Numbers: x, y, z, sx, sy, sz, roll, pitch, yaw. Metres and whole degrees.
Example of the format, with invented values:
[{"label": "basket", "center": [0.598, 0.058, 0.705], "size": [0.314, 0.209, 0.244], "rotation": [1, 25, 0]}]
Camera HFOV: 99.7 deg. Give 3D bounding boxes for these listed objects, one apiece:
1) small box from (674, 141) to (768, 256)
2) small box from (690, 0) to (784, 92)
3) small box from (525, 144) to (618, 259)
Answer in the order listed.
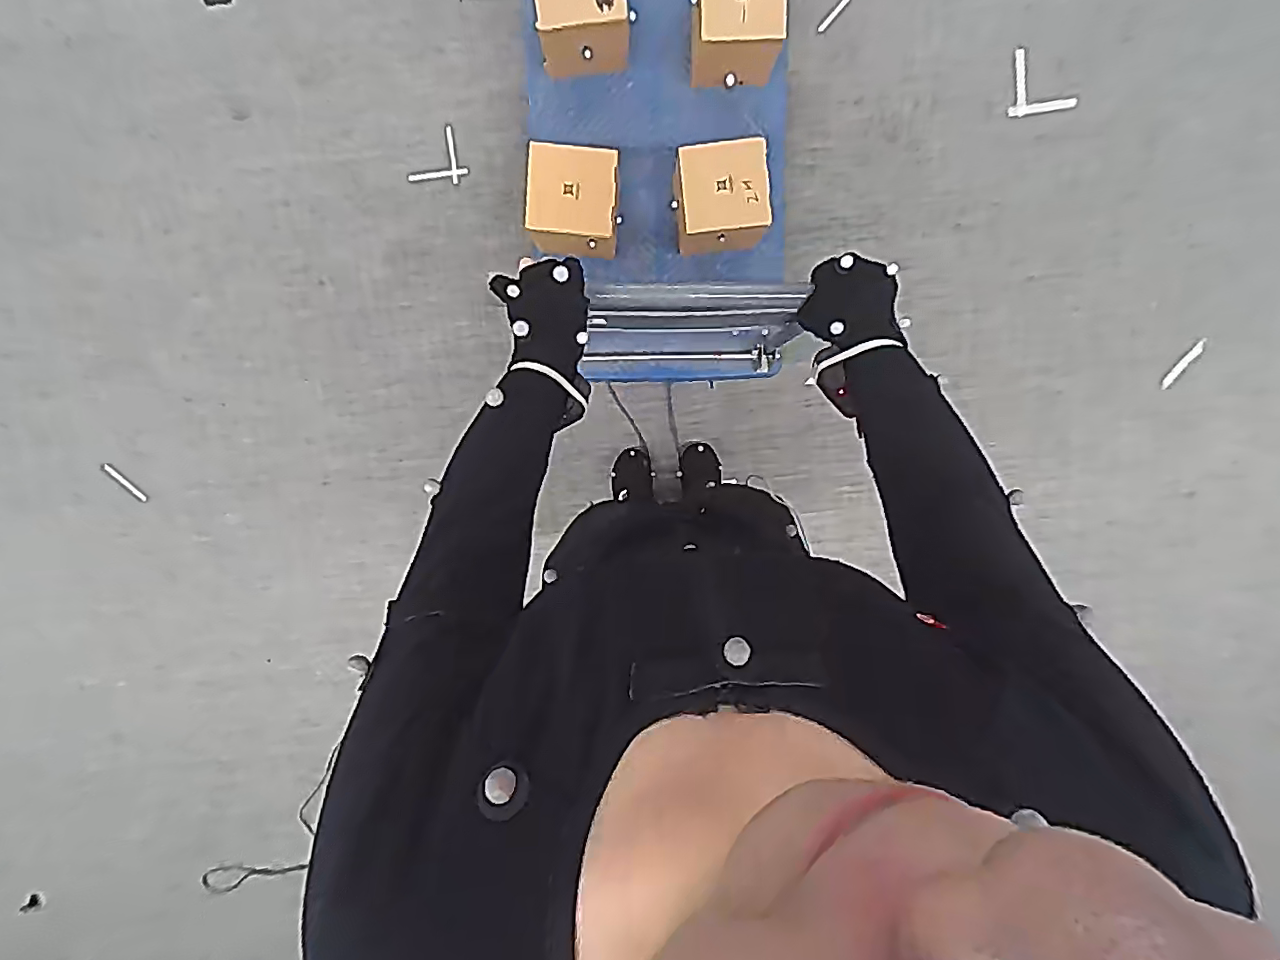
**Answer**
[{"label": "small box", "center": [0.166, -0.594, 1.160], "size": [0.179, 0.176, 0.168], "rotation": [-6, 98, 1]}, {"label": "small box", "center": [0.194, -0.940, 1.113], "size": [0.168, 0.176, 0.179], "rotation": [-2, 99, 0]}, {"label": "small box", "center": [-0.140, -0.587, 1.159], "size": [0.179, 0.176, 0.168], "rotation": [4, 97, -3]}]
